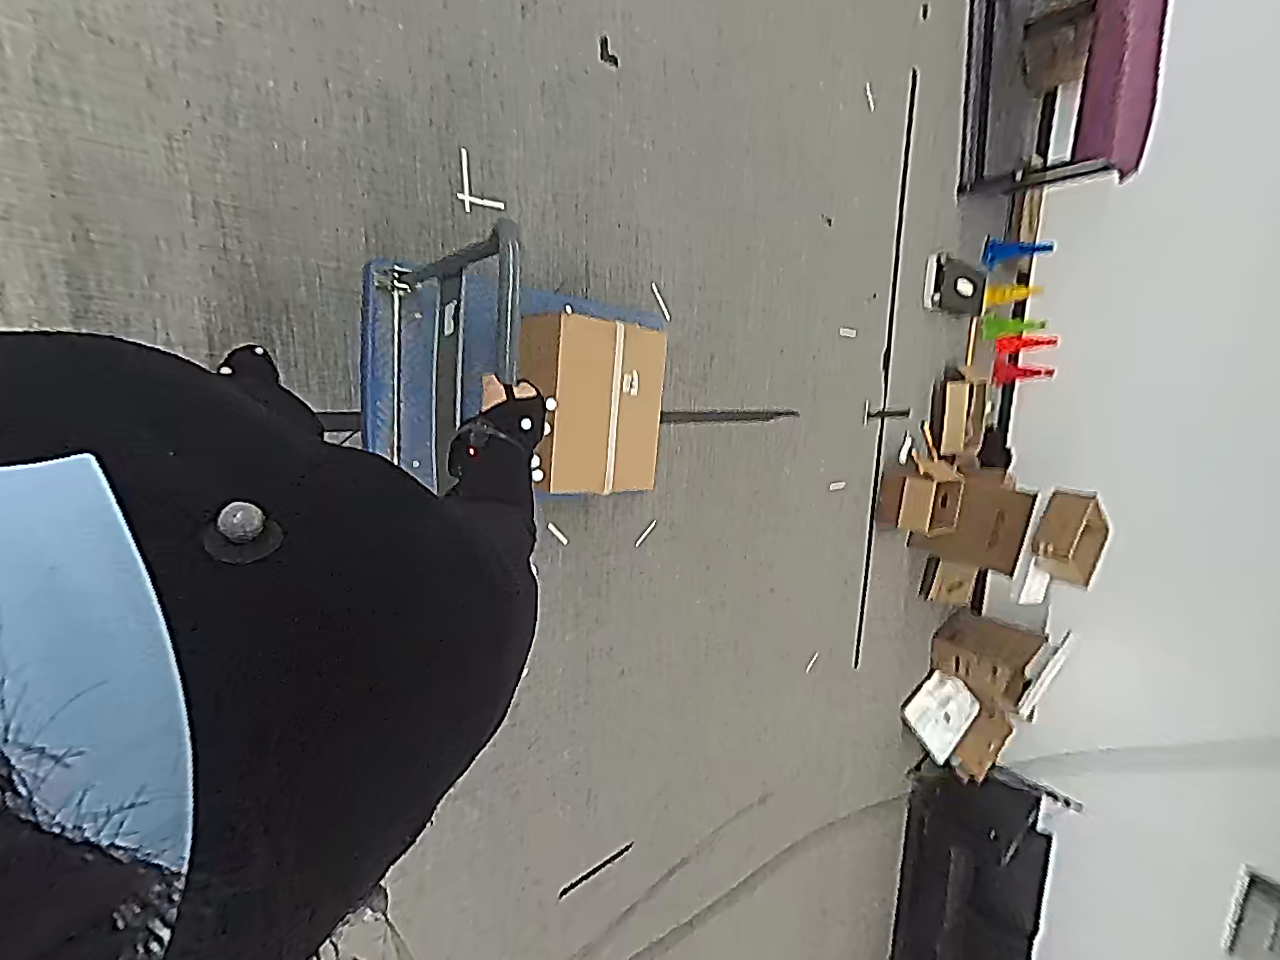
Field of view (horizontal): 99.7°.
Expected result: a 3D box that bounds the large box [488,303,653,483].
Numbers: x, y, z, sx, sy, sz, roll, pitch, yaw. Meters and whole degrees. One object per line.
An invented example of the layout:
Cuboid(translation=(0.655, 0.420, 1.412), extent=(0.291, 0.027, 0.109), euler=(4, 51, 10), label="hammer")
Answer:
Cuboid(translation=(-0.189, -0.215, 1.407), extent=(0.320, 0.320, 0.408), euler=(-2, 100, -41), label="large box")
